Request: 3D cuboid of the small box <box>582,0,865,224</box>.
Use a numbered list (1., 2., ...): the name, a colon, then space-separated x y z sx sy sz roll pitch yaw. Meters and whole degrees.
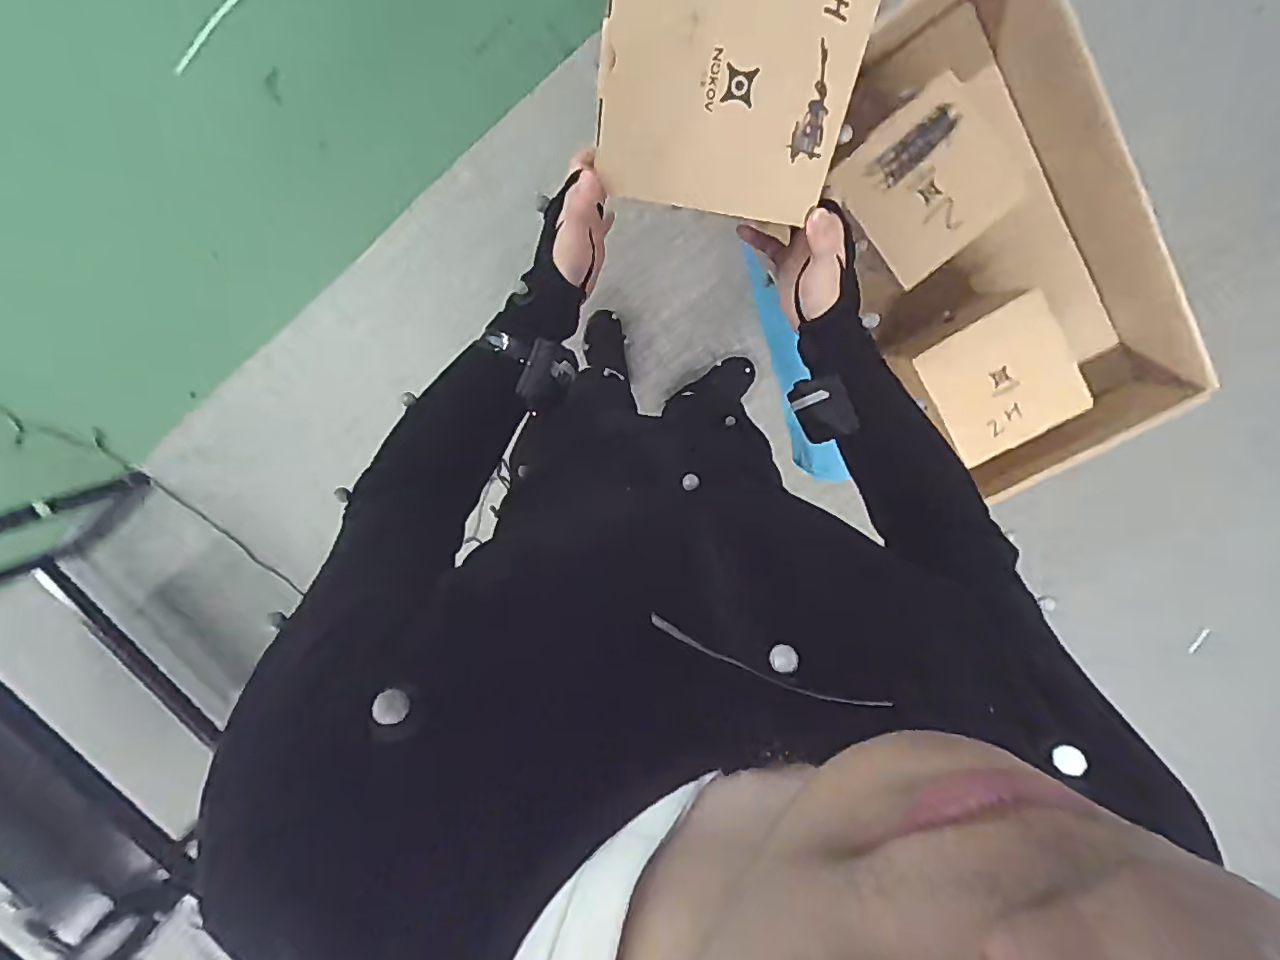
1. small box: 0.057 -0.324 0.438 0.179 0.176 0.168 8 127 -2
